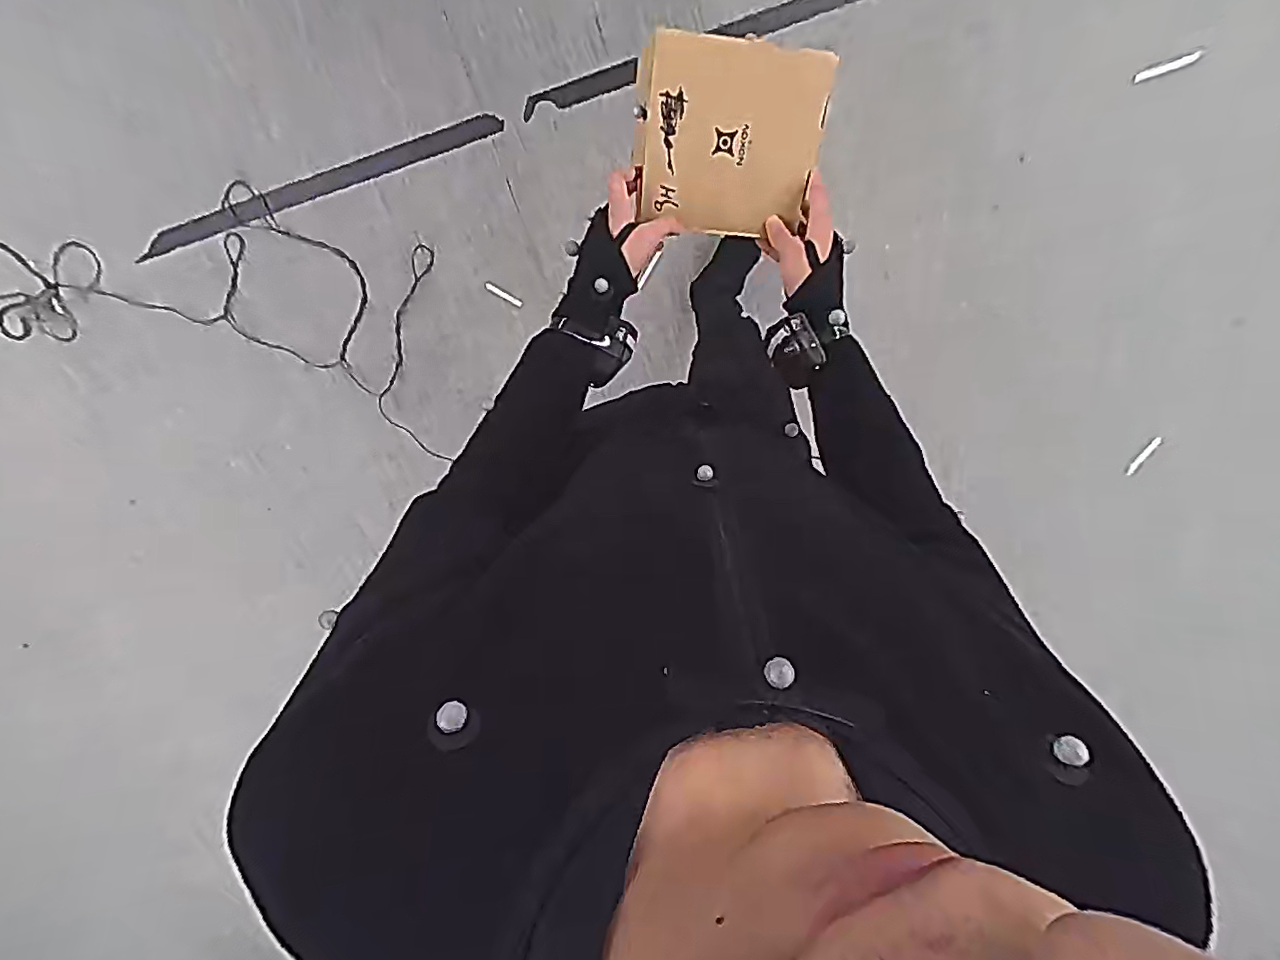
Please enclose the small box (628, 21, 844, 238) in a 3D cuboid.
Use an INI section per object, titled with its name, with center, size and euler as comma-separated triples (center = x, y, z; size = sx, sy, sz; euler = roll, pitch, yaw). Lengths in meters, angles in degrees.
[small box]
center = 0.088, -0.379, 0.597
size = 0.179, 0.176, 0.168
euler = 2, 123, -8
